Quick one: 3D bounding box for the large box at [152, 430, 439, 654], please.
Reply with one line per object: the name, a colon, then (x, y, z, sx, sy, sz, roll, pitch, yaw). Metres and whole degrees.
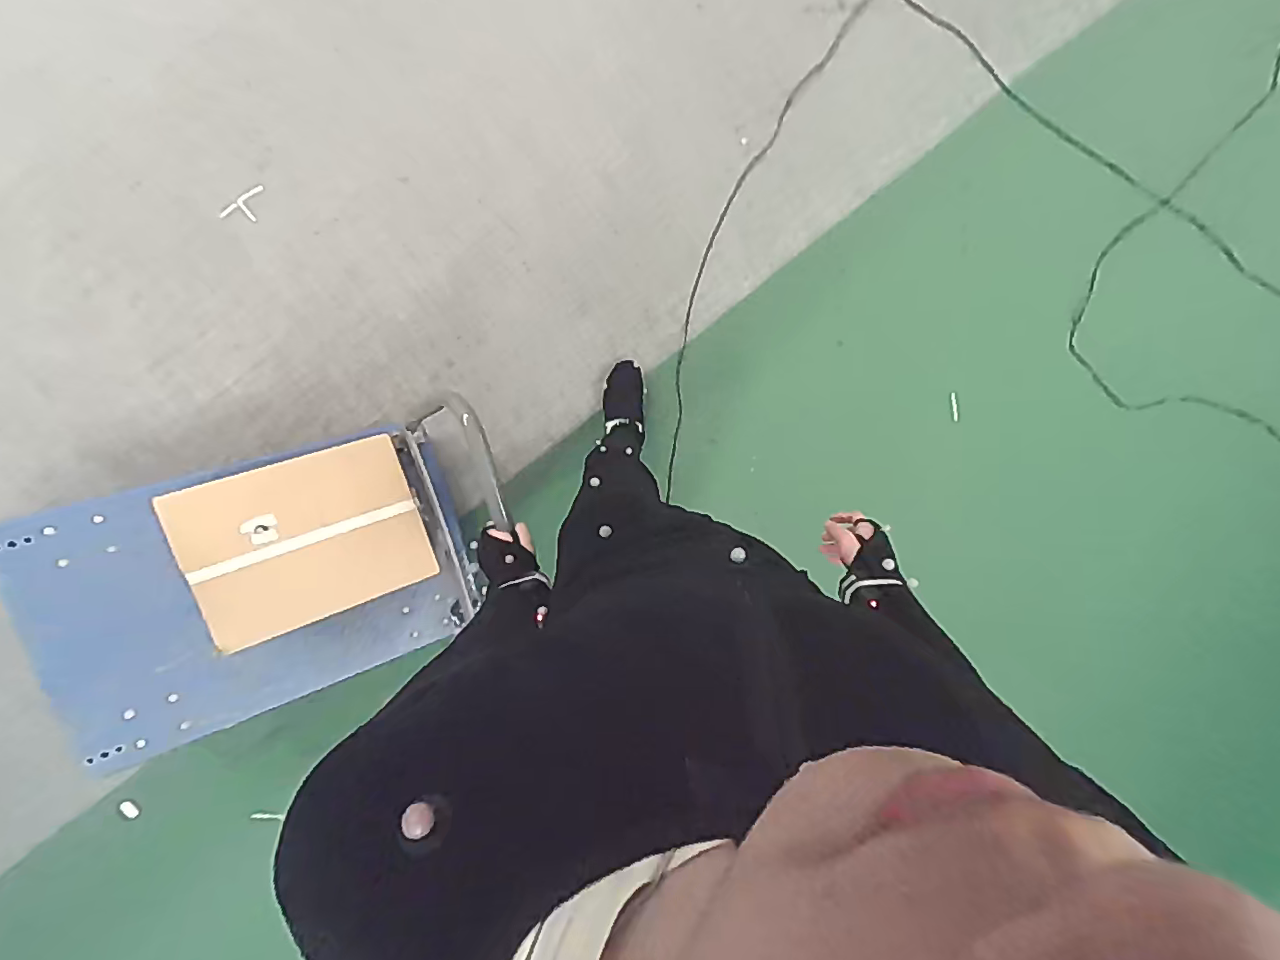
large box: (-0.696, 0.106, 1.174, 0.408, 0.320, 0.320, -21, 98, -22)
